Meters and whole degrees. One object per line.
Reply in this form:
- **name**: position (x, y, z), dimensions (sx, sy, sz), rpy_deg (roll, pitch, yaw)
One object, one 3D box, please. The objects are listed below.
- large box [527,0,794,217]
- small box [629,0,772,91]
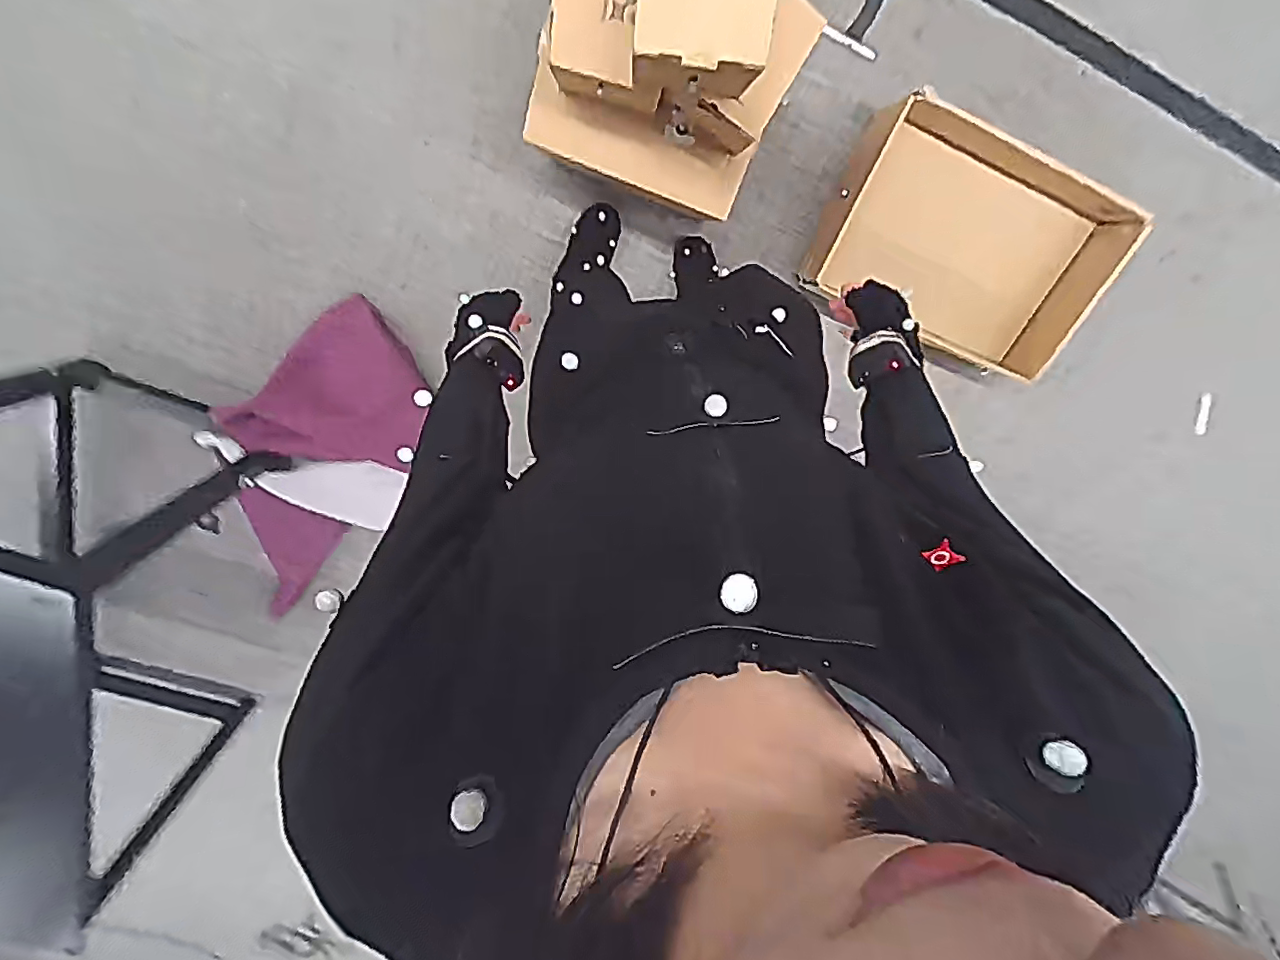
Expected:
- **large box**: position (0.022, -0.751, 1.077), dimensions (0.408, 0.320, 0.320), rpy_deg (16, 115, -9)
- **small box**: position (0.077, -0.622, 0.690), dimensions (0.168, 0.176, 0.179), rpy_deg (5, 116, -3)
